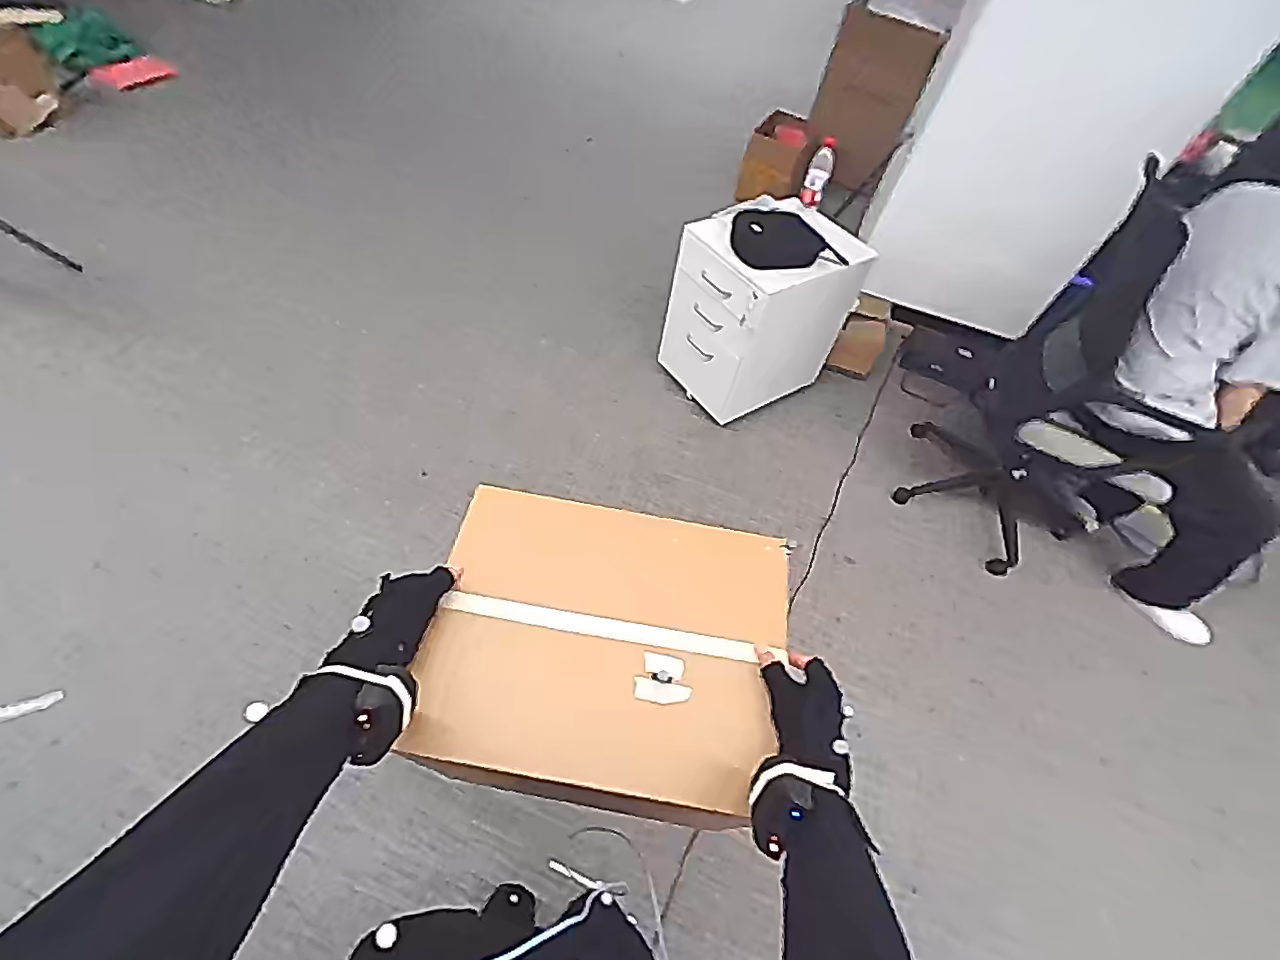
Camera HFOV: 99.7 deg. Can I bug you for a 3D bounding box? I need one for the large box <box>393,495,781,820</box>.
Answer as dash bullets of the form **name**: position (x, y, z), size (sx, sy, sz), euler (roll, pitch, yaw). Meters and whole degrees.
- **large box**: position (-0.049, 0.256, 0.747), size (0.408, 0.320, 0.320), euler (10, 57, 1)
